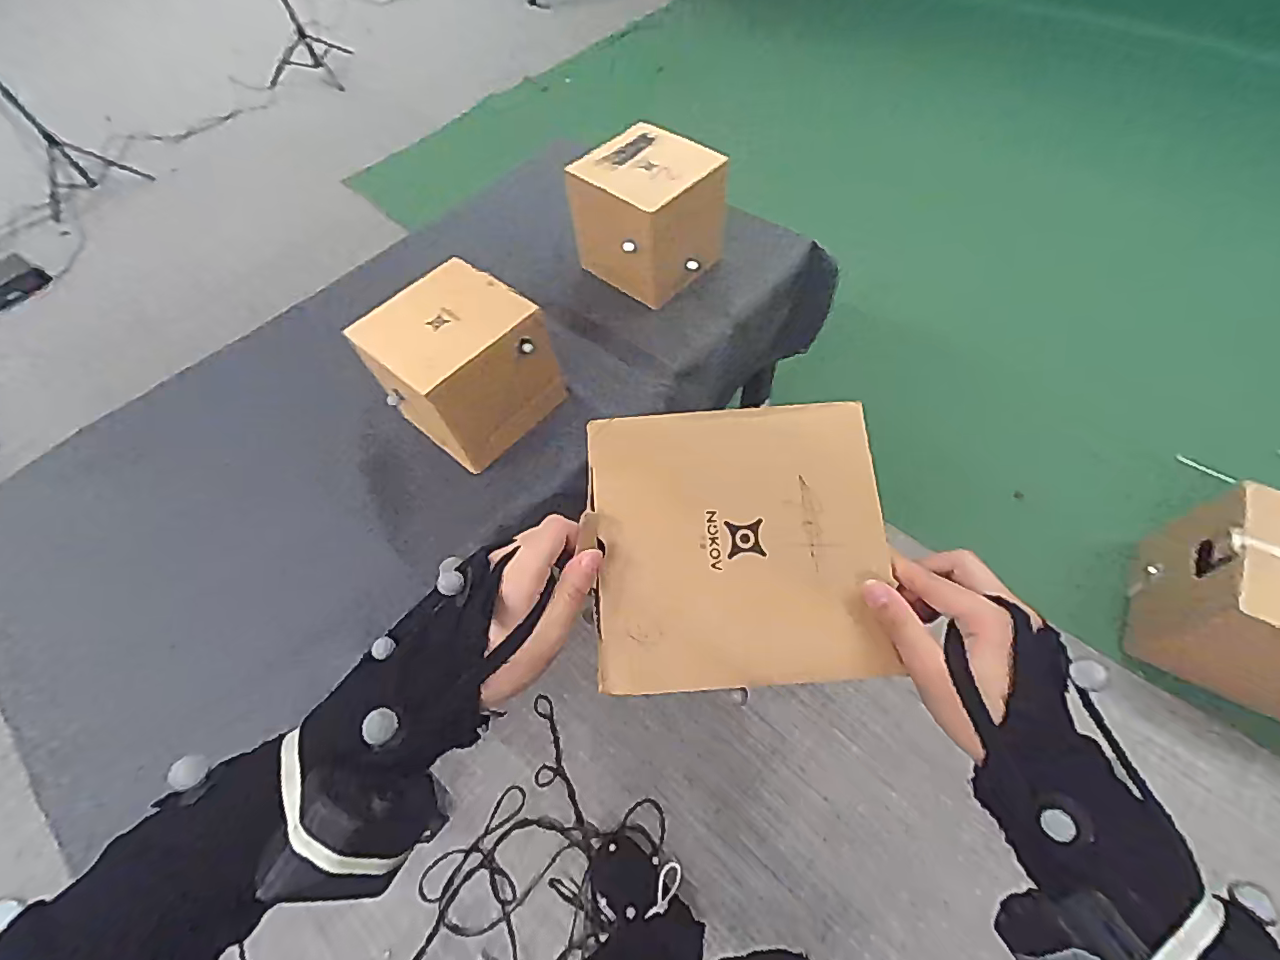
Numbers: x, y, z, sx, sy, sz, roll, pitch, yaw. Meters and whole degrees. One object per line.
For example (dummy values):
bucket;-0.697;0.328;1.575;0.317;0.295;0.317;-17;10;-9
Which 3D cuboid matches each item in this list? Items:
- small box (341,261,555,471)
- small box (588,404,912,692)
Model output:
small box;-0.234;-0.143;0.705;0.168;0.176;0.179;35;66;23
small box;0.060;0.056;0.393;0.179;0.176;0.168;-3;75;-1
